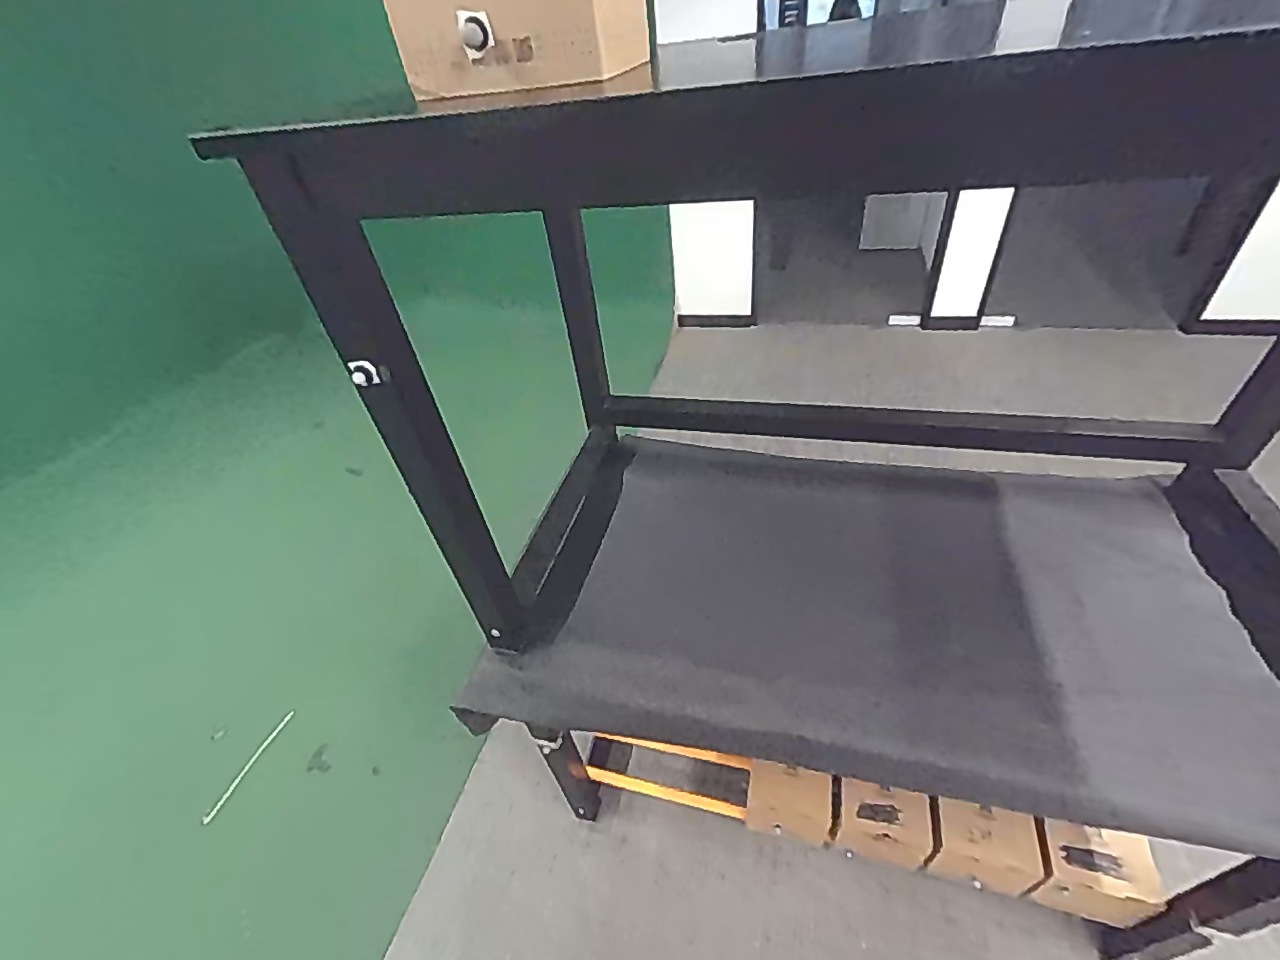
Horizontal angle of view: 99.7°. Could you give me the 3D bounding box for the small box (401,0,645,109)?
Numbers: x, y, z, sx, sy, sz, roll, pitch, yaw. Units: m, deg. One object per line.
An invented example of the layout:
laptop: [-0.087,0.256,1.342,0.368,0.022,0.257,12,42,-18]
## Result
small box: [-0.094,-0.422,0.448,0.168,0.176,0.179,2,41,13]
